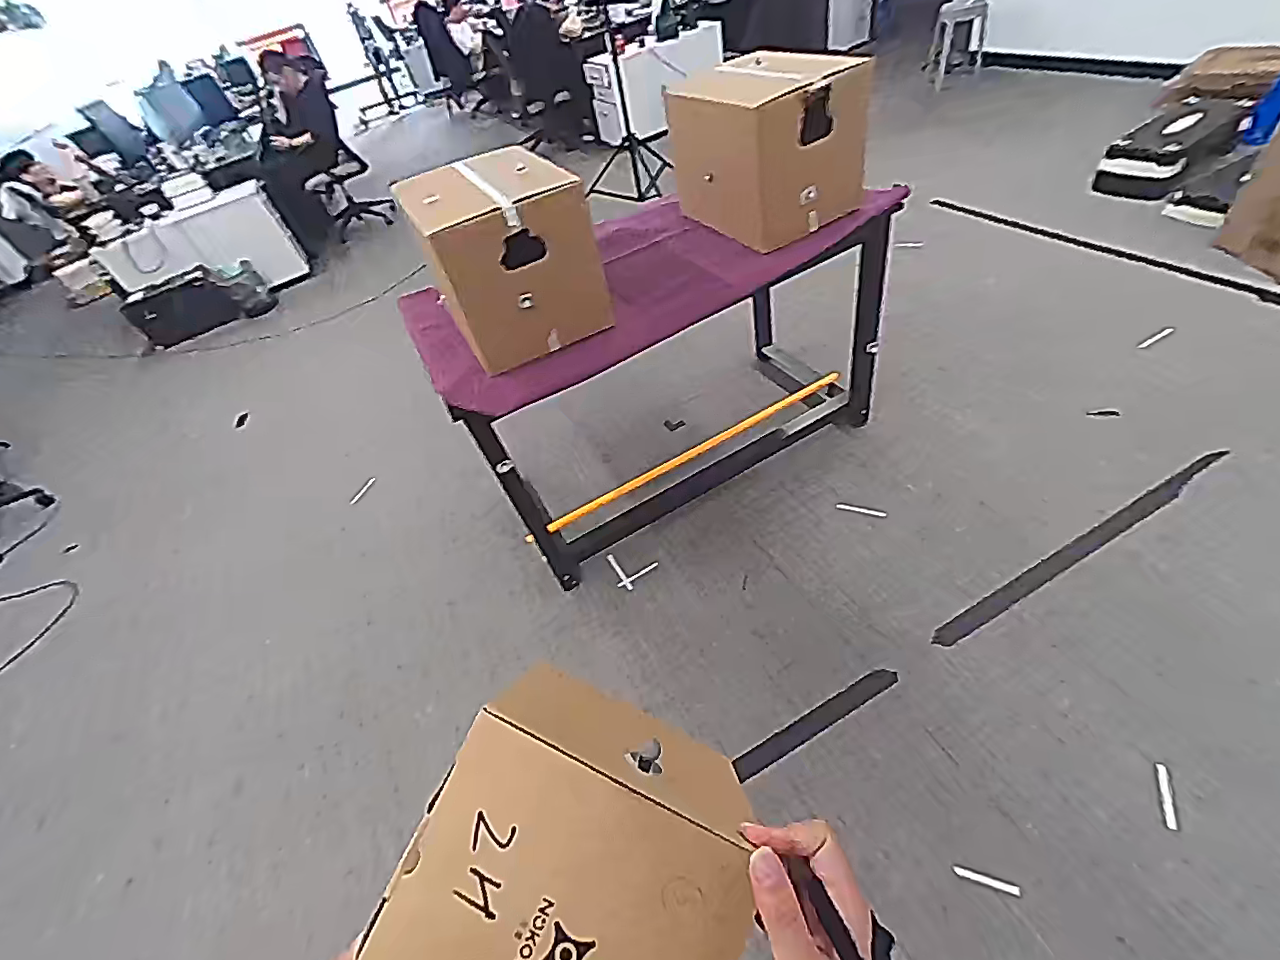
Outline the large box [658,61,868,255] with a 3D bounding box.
[{"bbox_3d":[0.300,-0.813,1.355,0.320,0.320,0.408,-28,45,-12],"label":"large box"}]
